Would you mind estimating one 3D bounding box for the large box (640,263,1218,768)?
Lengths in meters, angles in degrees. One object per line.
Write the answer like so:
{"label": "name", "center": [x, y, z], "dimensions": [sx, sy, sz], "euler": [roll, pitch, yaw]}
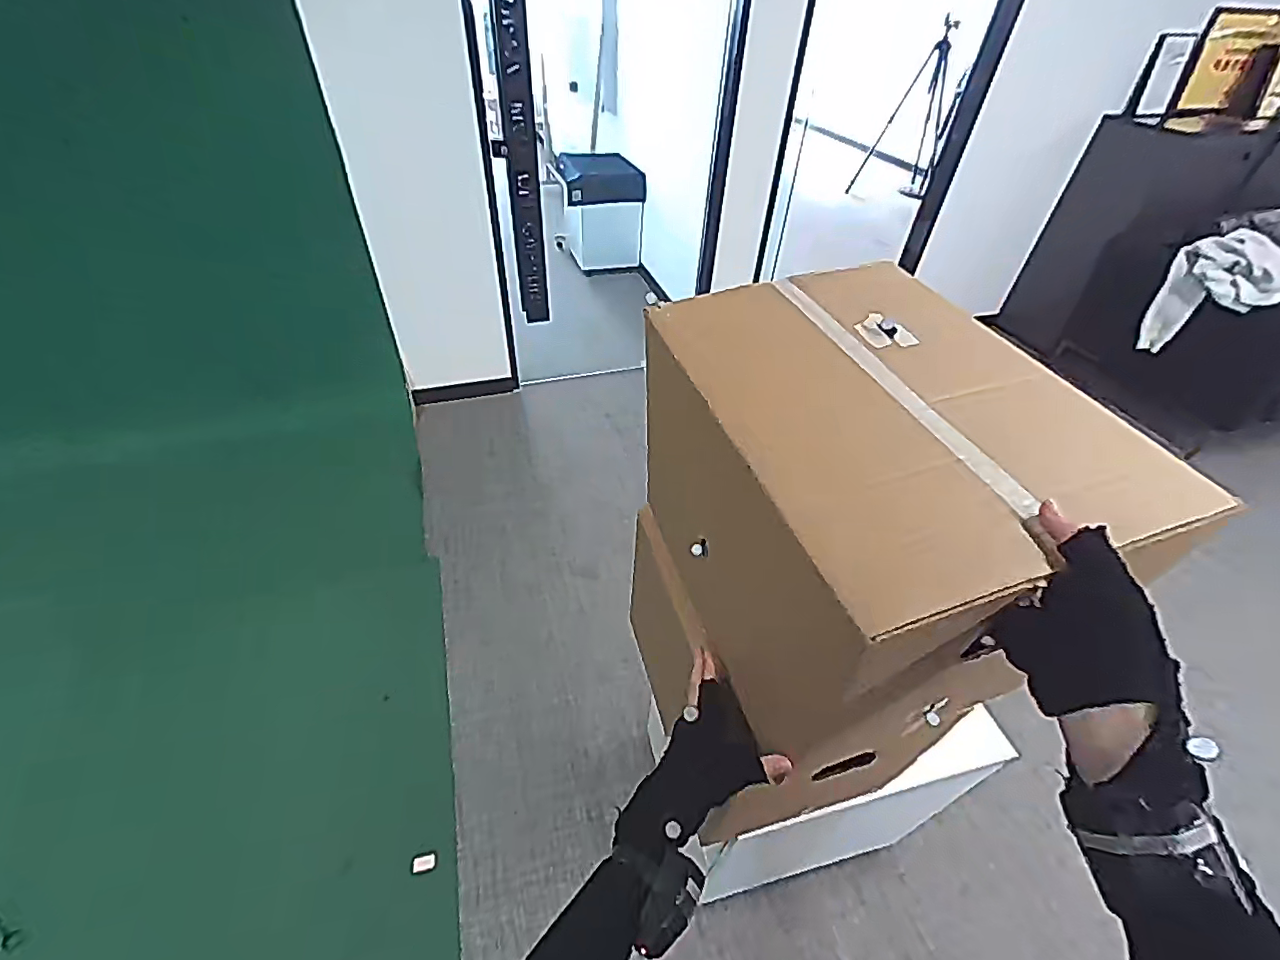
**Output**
{"label": "large box", "center": [0.214, 0.018, 0.591], "dimensions": [0.320, 0.320, 0.408], "euler": [-14, 47, -11]}
